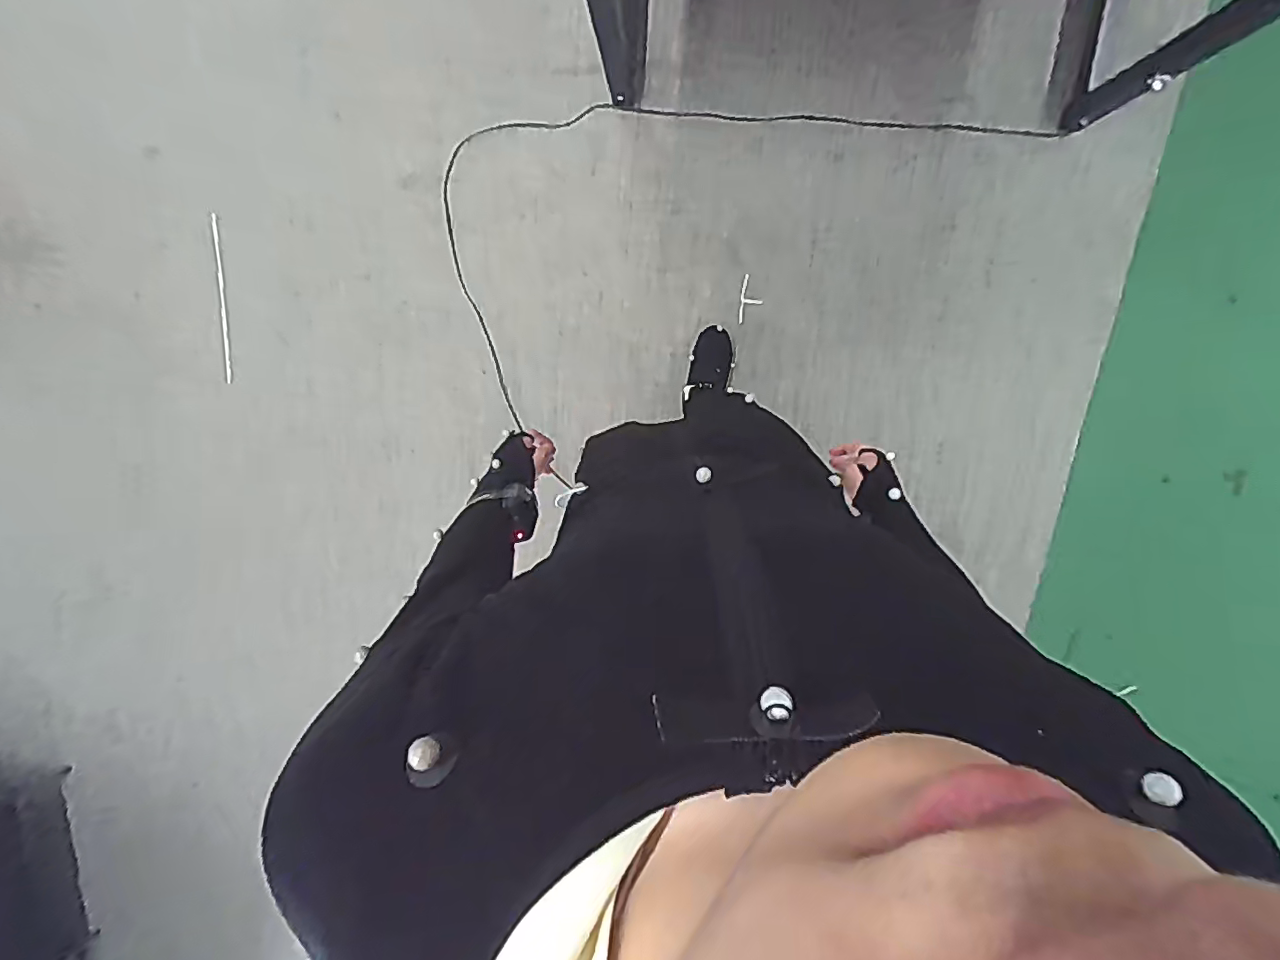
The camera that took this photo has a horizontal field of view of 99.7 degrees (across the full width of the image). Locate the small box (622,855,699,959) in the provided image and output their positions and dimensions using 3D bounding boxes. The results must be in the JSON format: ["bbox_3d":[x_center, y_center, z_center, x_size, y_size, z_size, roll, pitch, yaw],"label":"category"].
[{"bbox_3d":[0.055,1.110,1.377,0.168,0.176,0.179,9,102,3],"label":"small box"}]
